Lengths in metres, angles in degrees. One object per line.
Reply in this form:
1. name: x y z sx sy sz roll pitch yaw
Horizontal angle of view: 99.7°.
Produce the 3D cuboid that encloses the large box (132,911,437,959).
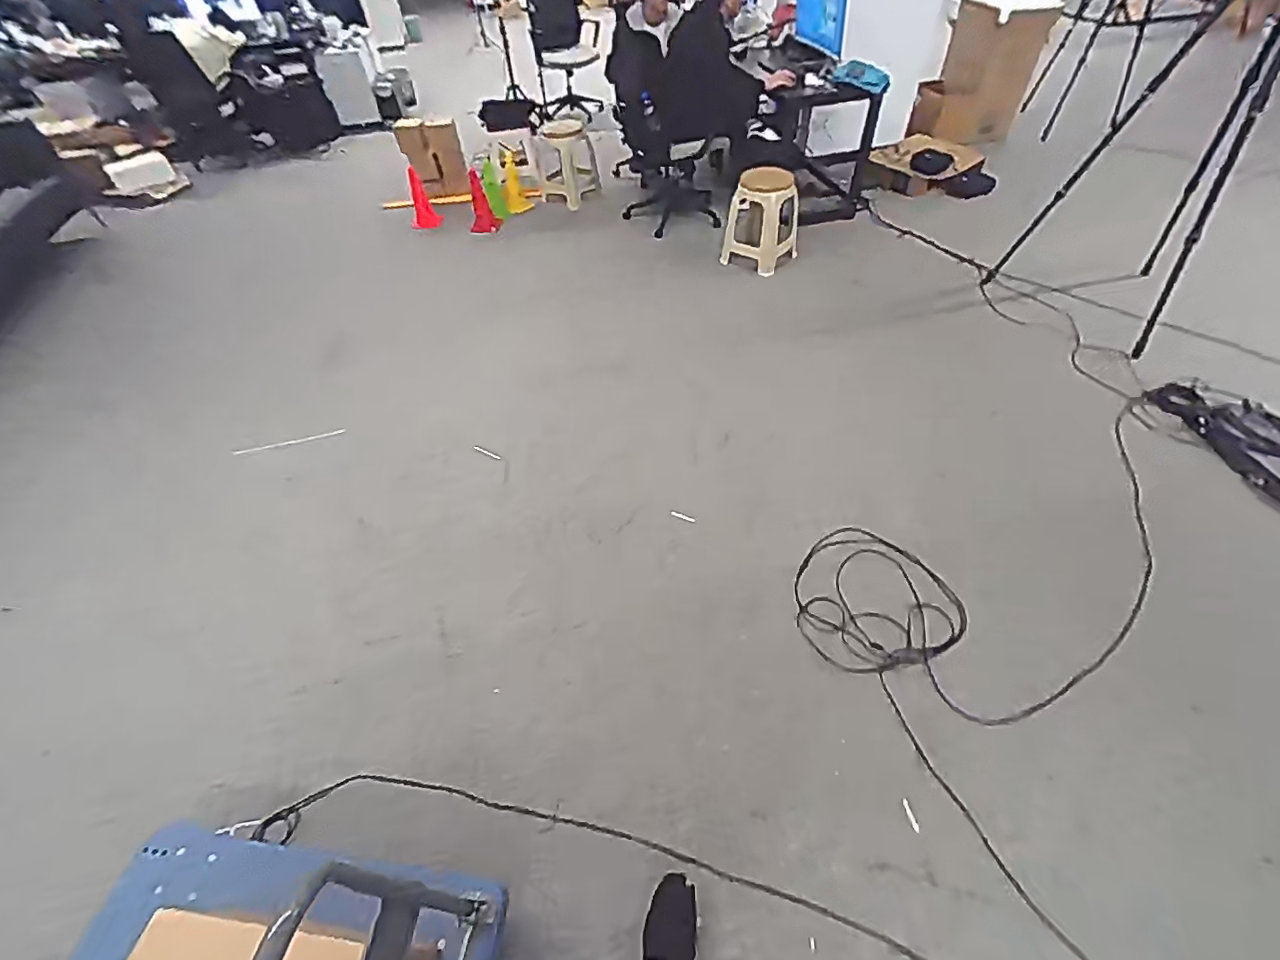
1. large box: -0.625 0.950 0.909 0.408 0.320 0.320 3 49 7
